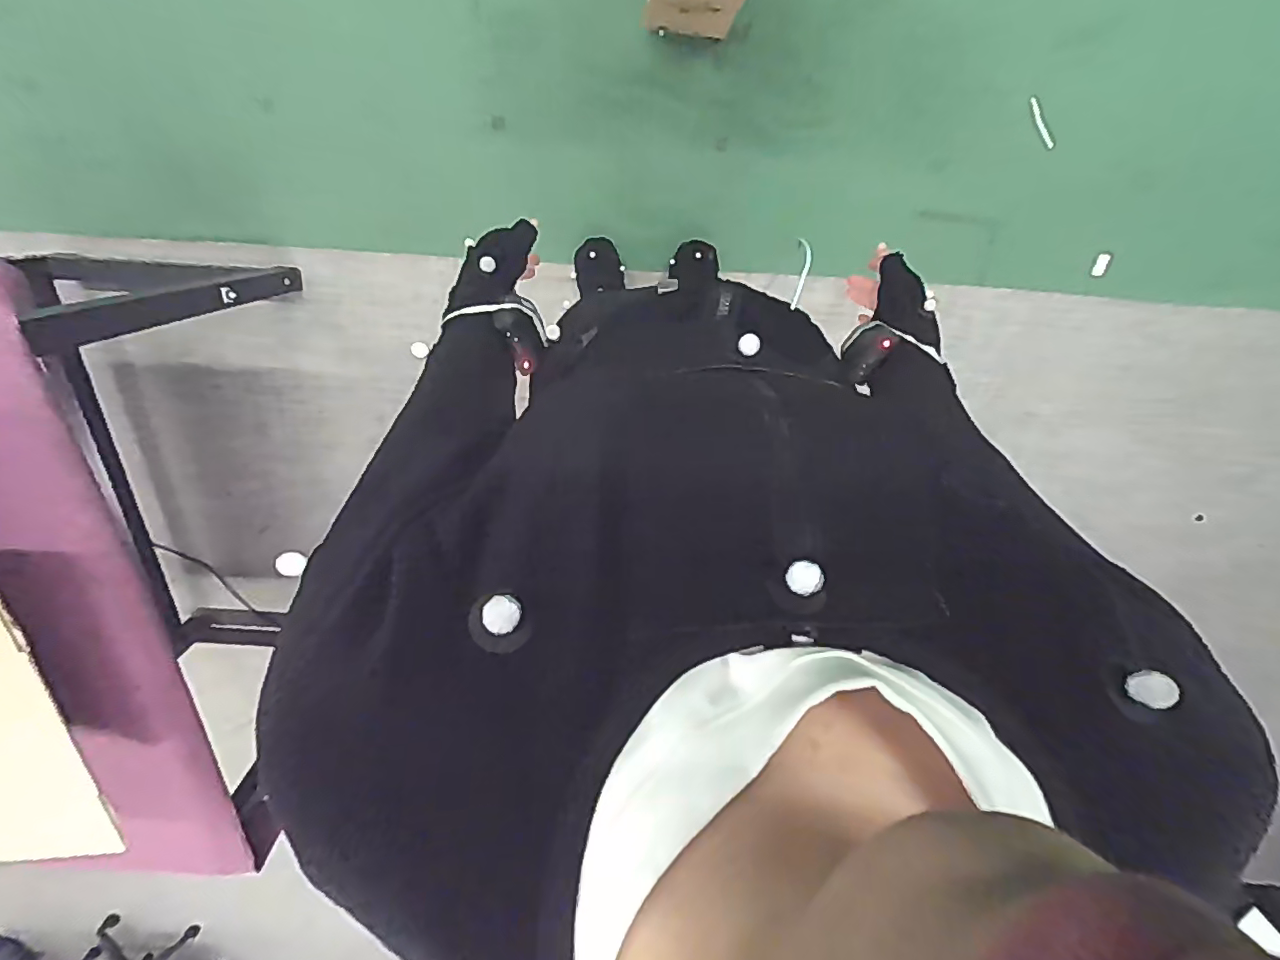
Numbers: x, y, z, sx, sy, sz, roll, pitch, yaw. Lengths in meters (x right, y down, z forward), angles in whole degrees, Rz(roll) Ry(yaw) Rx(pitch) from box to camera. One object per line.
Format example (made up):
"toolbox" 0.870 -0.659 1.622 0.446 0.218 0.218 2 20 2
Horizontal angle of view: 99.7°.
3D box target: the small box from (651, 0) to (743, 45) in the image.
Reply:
"small box" 0.111 -0.949 1.013 0.168 0.176 0.179 5 115 -3
